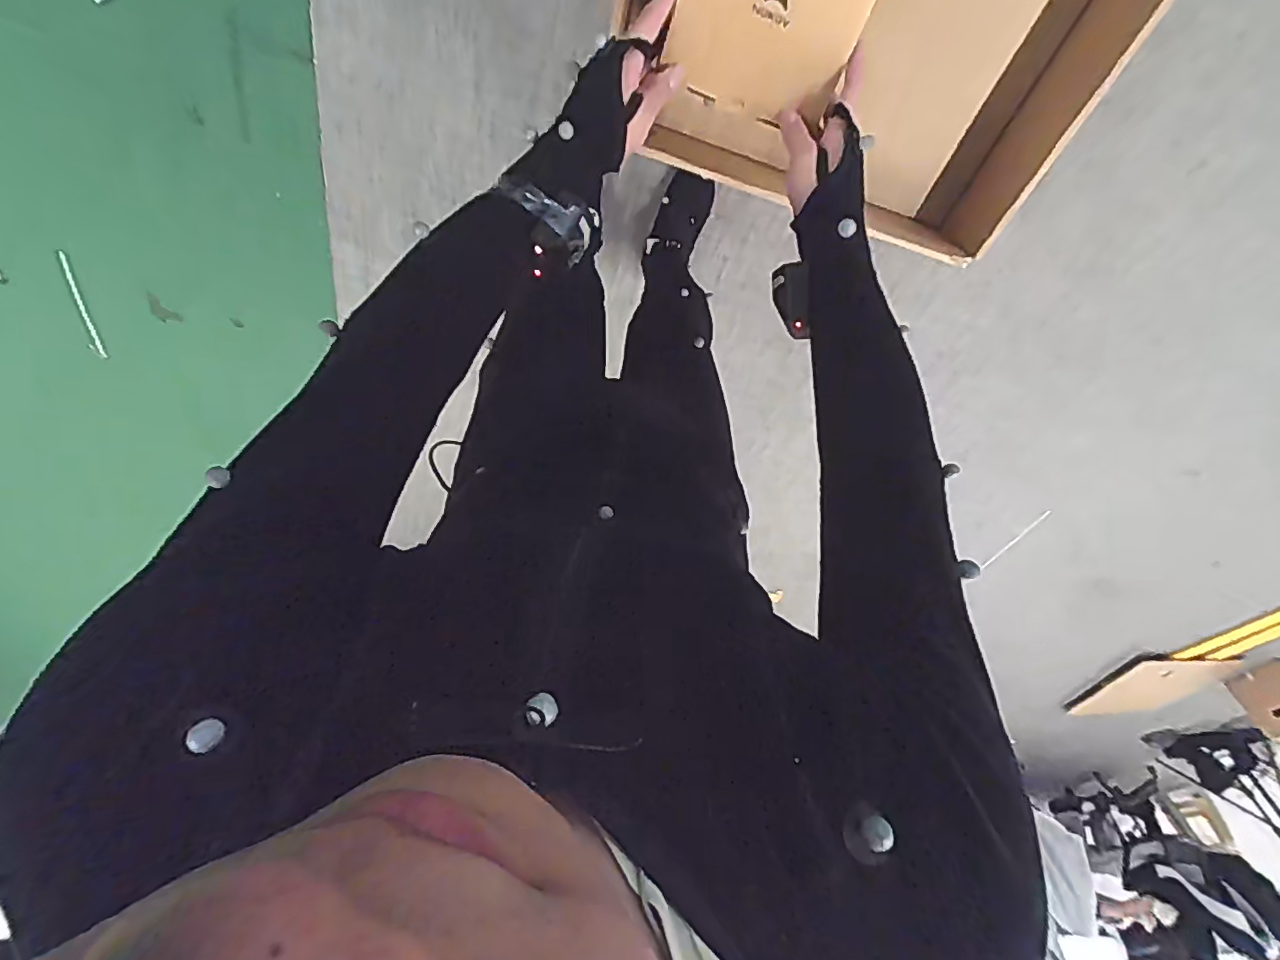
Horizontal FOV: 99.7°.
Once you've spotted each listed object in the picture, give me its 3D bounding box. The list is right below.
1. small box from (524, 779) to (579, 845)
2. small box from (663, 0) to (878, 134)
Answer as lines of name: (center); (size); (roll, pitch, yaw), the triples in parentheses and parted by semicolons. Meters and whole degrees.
small box: (-0.315, 1.196, 1.949); (0.168, 0.176, 0.179); (11, 133, -11)
small box: (0.123, -0.474, 0.521); (0.168, 0.176, 0.179); (14, 130, -12)
